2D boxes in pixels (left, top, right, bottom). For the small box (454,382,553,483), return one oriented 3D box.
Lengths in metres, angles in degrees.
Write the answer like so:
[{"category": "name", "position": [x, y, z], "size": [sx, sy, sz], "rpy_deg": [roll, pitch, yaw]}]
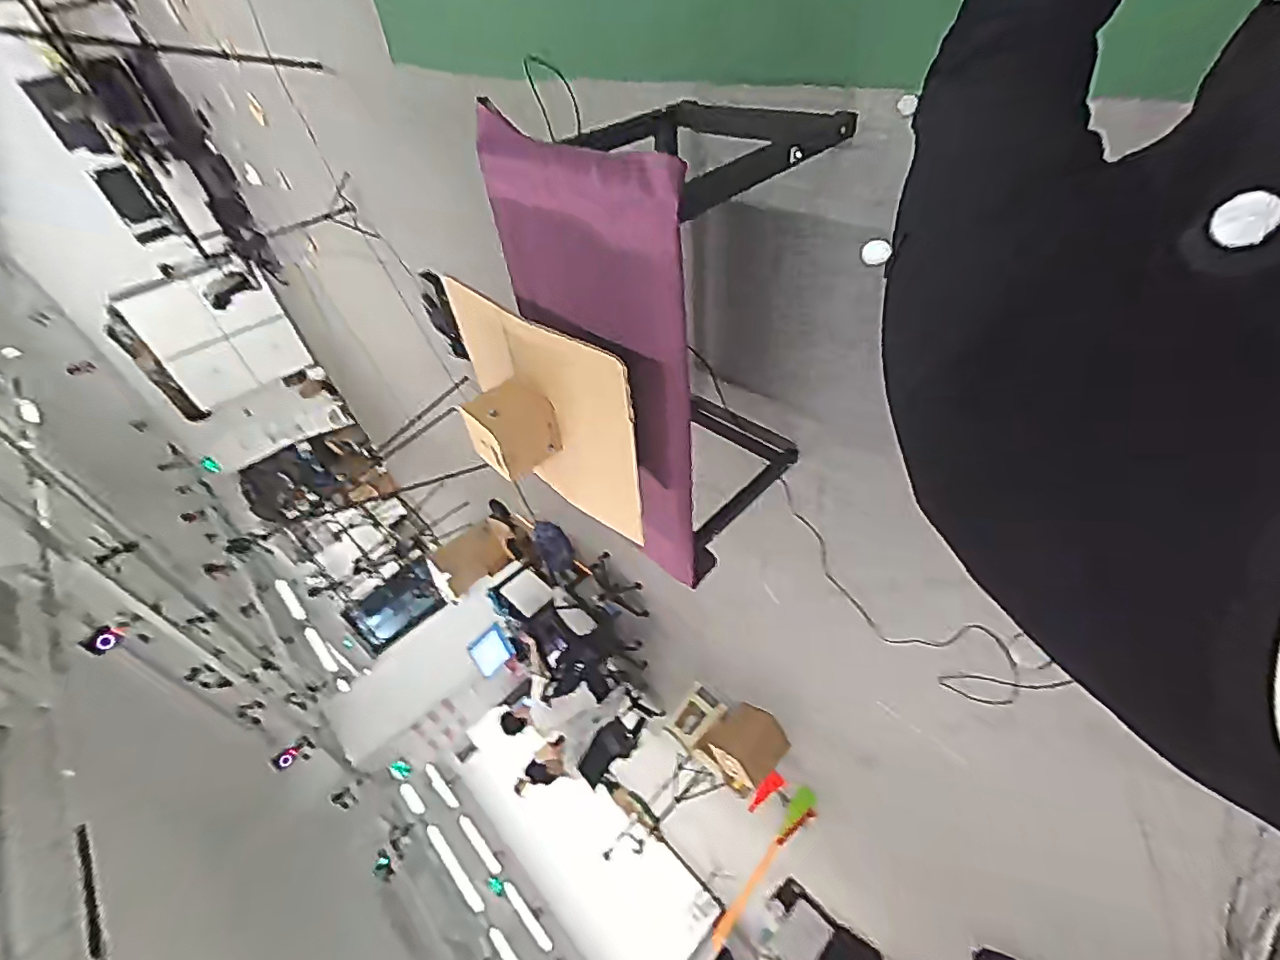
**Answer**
[{"category": "small box", "position": [-0.342, -0.129, 1.399], "size": [0.179, 0.176, 0.168], "rpy_deg": [32, 146, 34]}]
